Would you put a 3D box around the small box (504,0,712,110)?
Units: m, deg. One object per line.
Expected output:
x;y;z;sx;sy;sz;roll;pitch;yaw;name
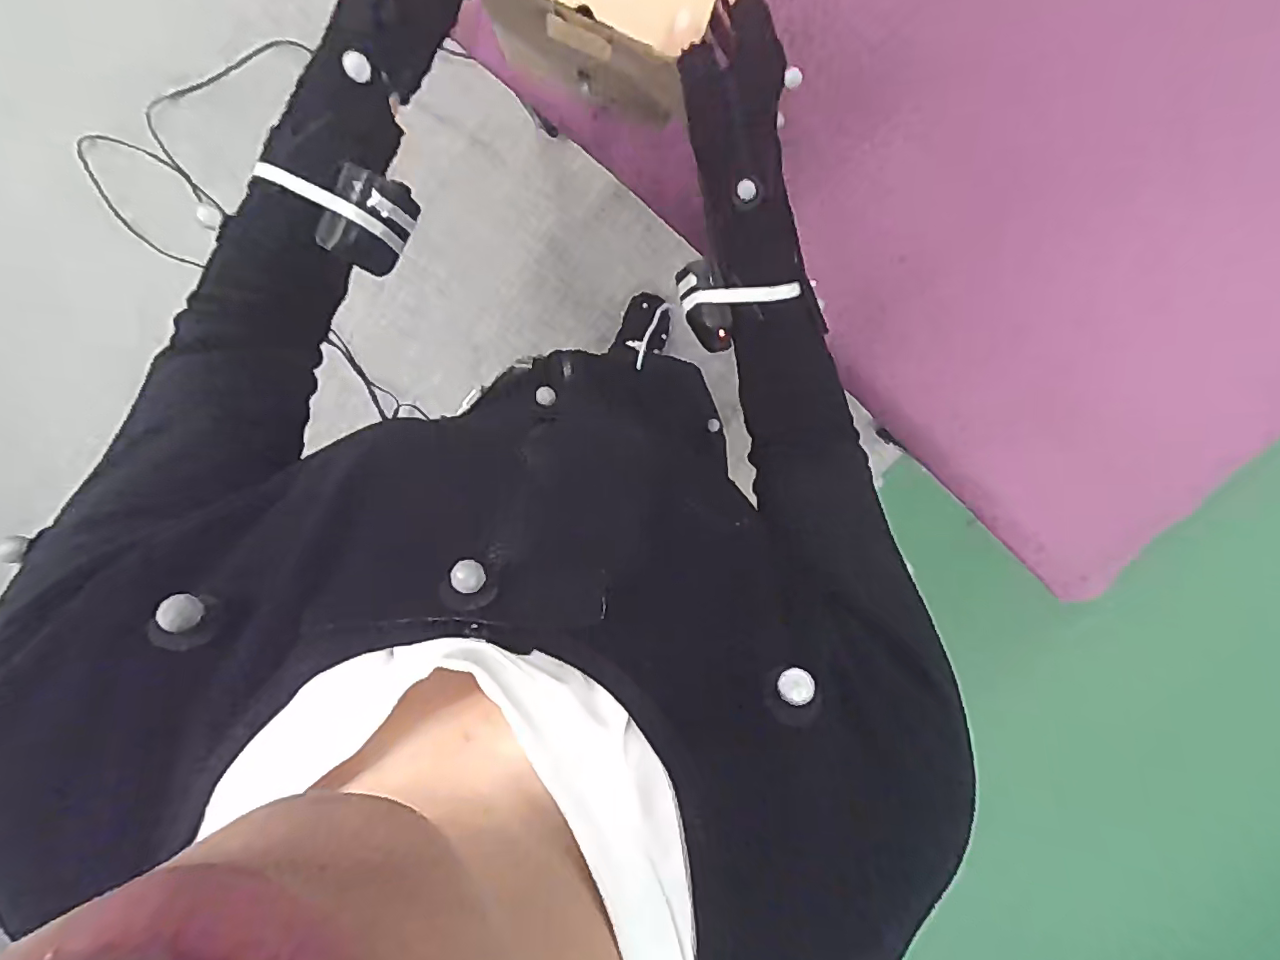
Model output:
-0.012;-0.434;0.420;0.168;0.176;0.179;19;109;-10;small box
